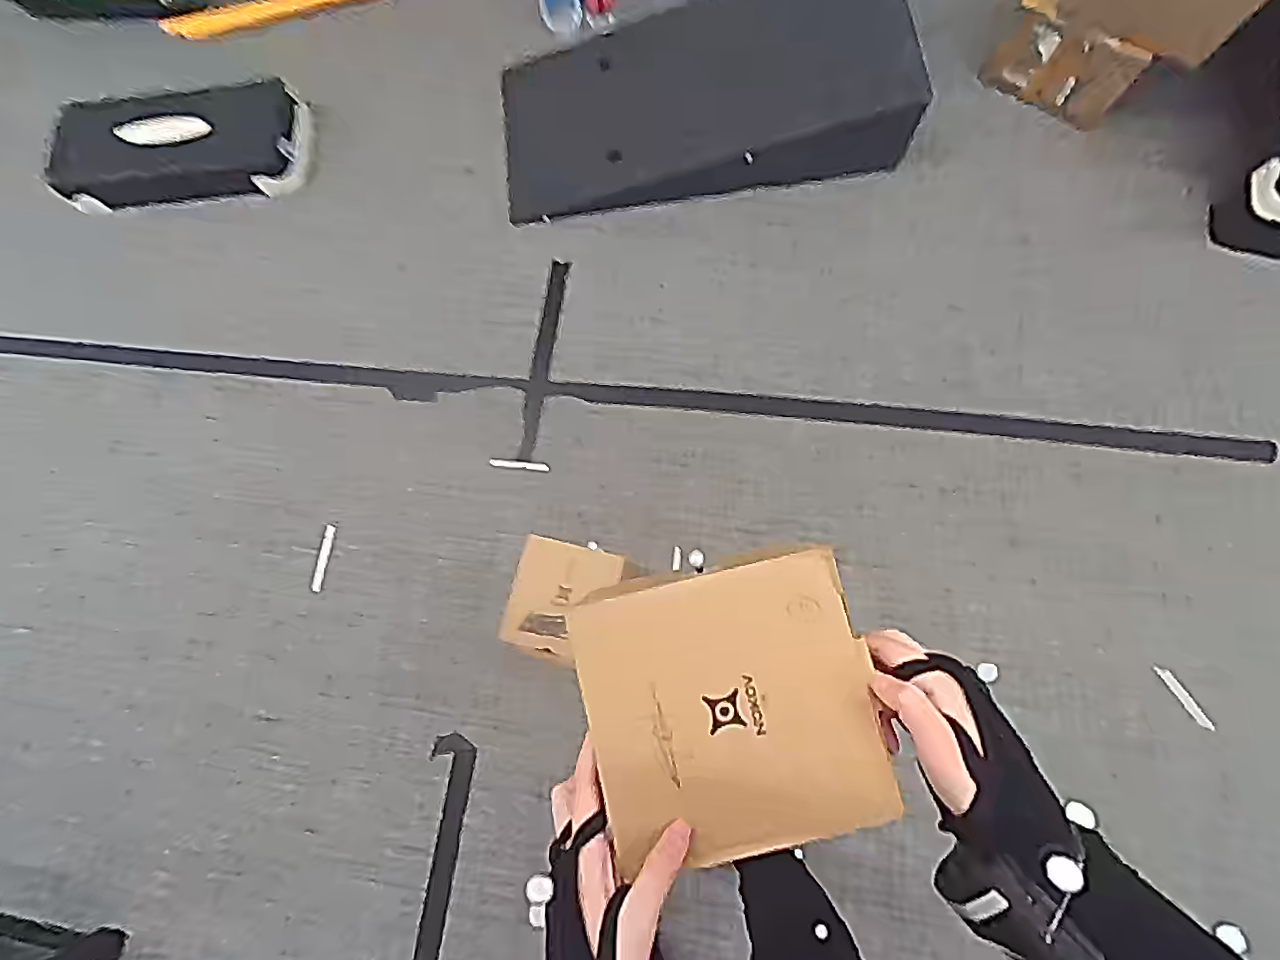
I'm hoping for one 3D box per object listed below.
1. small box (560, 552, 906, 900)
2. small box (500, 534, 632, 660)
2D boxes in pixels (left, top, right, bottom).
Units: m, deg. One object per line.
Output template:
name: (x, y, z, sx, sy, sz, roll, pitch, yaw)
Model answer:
small box: (0.052, 0.149, 0.394, 0.179, 0.176, 0.168, -13, 83, 0)
small box: (-0.115, 0.205, 0.929, 0.168, 0.176, 0.179, 14, 78, 7)
